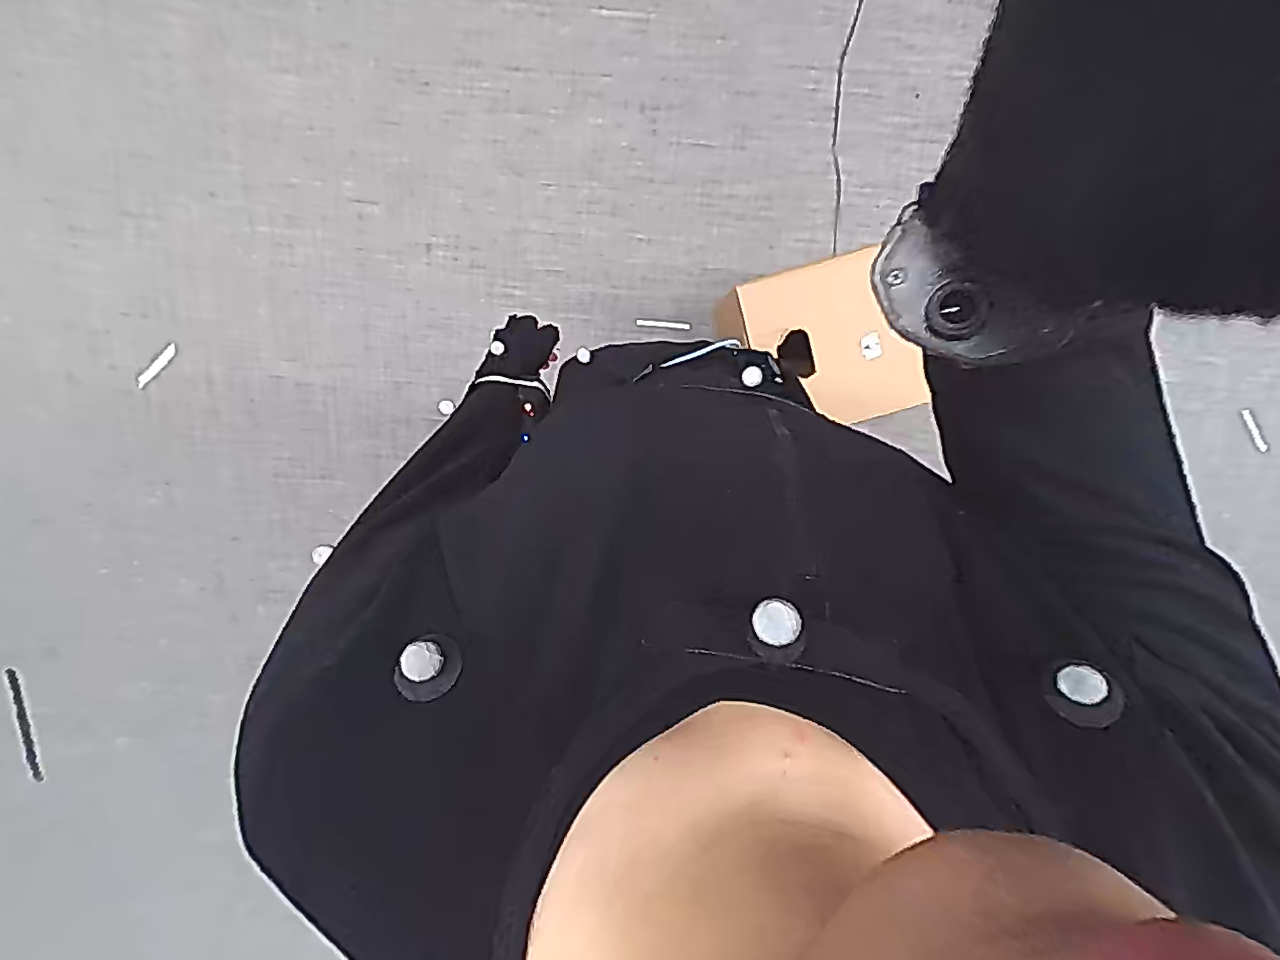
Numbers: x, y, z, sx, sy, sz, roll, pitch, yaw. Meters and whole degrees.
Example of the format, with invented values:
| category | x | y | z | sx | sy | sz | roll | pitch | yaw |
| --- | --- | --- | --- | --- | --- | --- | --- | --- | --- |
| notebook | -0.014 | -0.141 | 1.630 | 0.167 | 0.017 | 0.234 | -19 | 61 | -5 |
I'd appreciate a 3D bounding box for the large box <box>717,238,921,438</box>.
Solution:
| category | x | y | z | sx | sy | sz | roll | pitch | yaw |
| --- | --- | --- | --- | --- | --- | --- | --- | --- | --- |
| large box | 0.374 | -0.305 | 1.222 | 0.320 | 0.408 | 0.320 | -14 | 101 | 6 |
